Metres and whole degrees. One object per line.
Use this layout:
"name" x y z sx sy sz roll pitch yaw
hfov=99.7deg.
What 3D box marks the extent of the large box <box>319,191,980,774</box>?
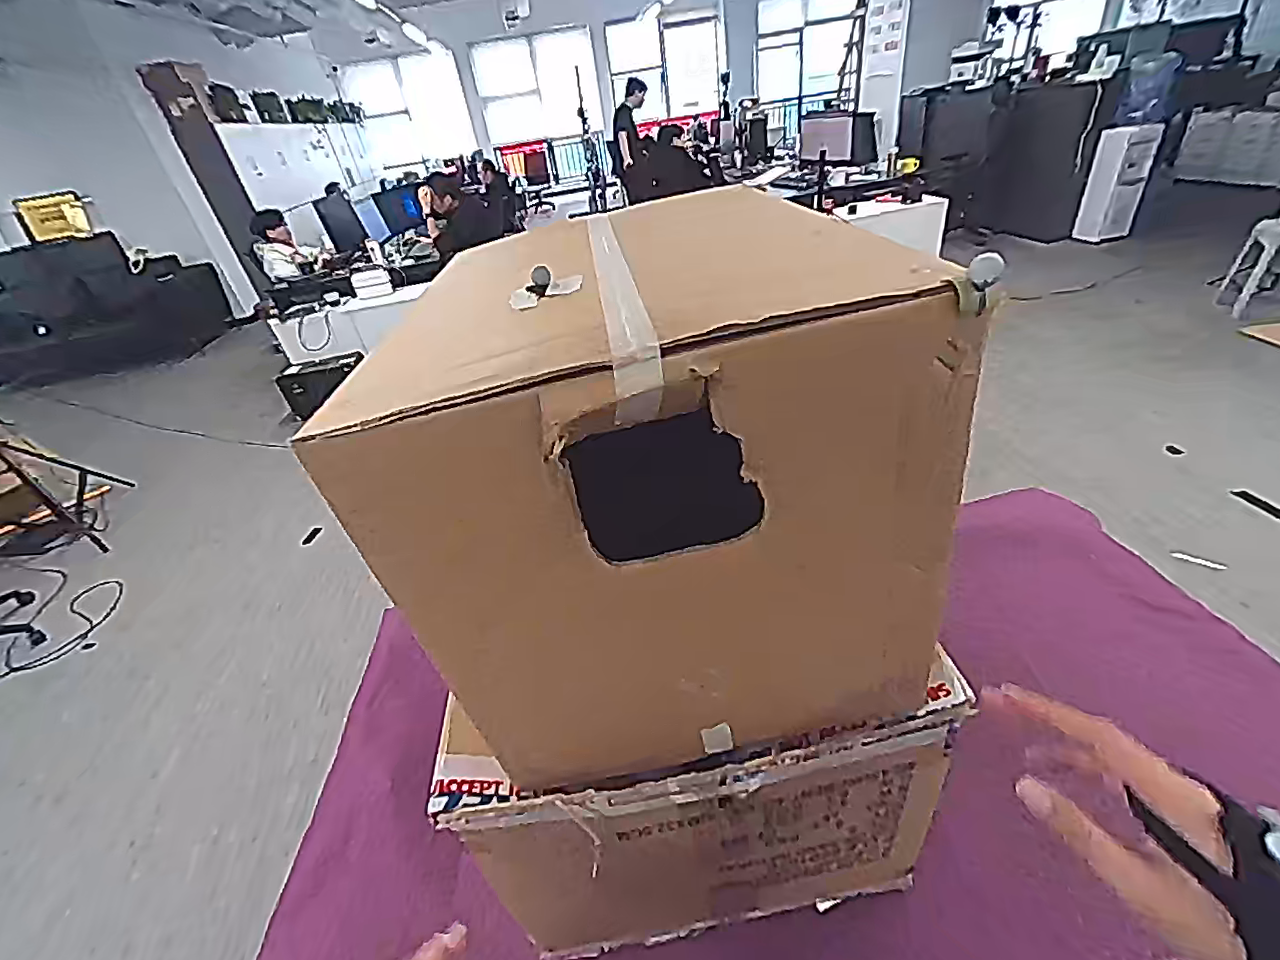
"large box" 0.006 -0.036 0.485 0.320 0.320 0.408 -14 35 2
